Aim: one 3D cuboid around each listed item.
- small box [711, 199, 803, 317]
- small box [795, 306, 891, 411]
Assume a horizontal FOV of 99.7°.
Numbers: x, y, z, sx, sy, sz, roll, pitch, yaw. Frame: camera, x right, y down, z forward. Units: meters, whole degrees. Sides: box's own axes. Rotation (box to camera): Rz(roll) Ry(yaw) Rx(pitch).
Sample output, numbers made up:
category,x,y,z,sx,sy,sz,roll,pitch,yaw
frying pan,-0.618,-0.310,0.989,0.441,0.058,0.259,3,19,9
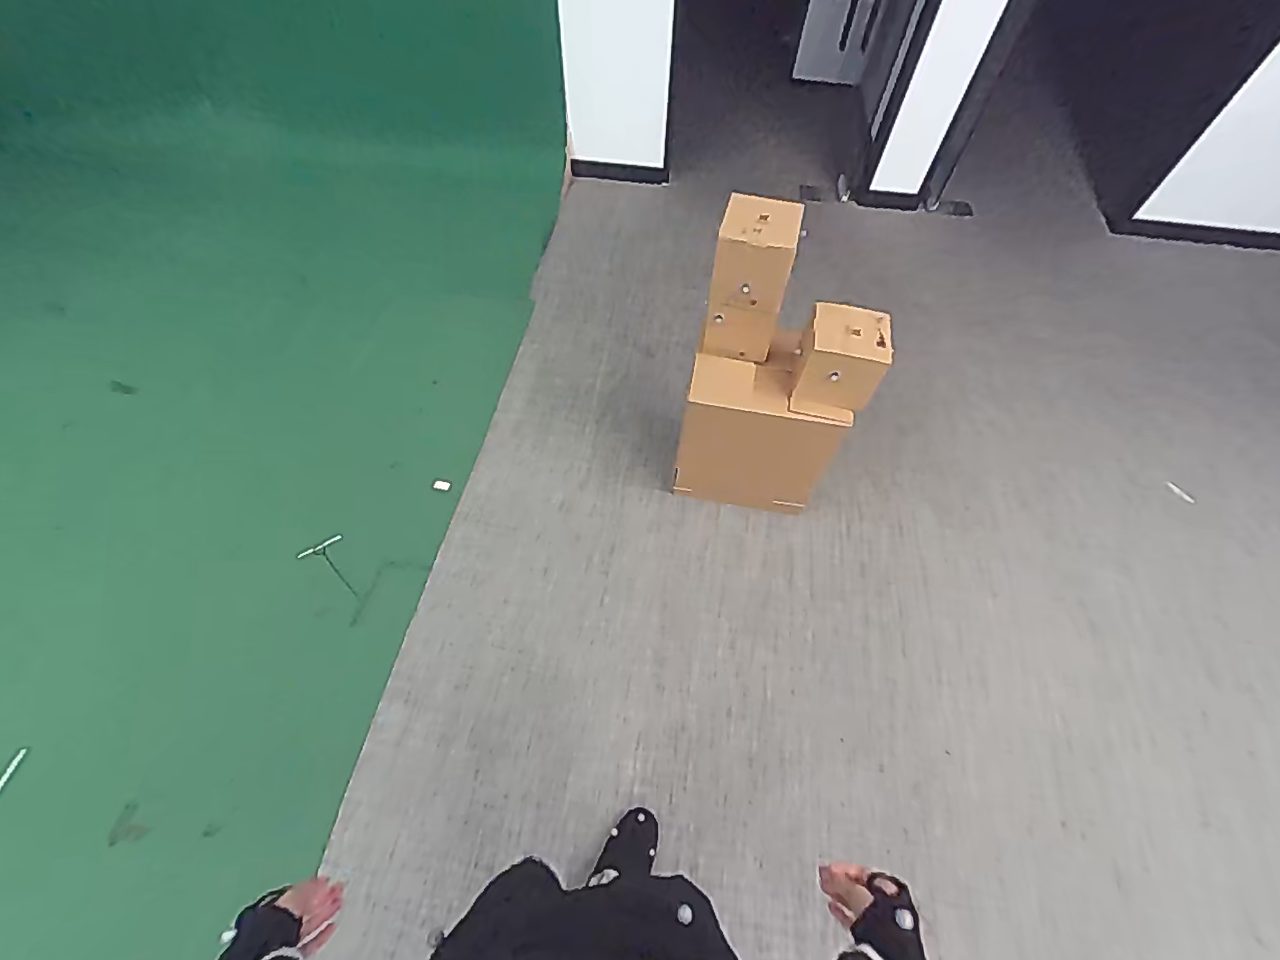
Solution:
category,x,y,z,sx,sy,sz,roll,pitch,yaw
small box,0.262,-0.507,1.239,0.168,0.176,0.179,13,58,8
small box,0.480,-0.286,1.295,0.179,0.176,0.168,11,60,6
